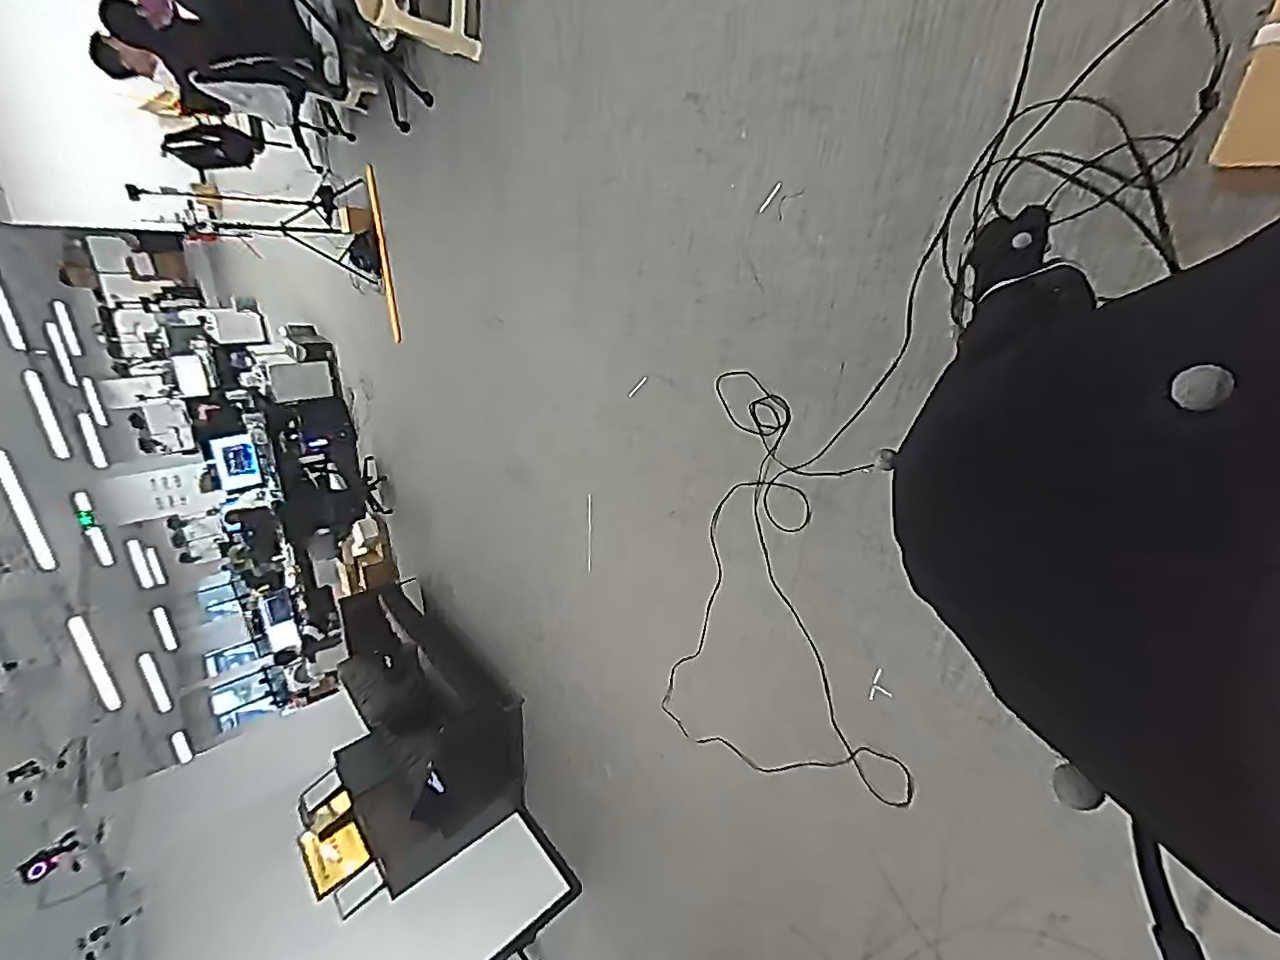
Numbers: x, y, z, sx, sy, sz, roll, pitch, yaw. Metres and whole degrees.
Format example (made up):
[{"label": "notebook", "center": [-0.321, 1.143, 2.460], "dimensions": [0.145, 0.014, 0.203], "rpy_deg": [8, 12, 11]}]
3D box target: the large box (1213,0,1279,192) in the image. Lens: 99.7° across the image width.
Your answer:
[{"label": "large box", "center": [1.080, -0.566, 0.695], "dimensions": [0.408, 0.320, 0.320], "rpy_deg": [26, 122, 40]}]
